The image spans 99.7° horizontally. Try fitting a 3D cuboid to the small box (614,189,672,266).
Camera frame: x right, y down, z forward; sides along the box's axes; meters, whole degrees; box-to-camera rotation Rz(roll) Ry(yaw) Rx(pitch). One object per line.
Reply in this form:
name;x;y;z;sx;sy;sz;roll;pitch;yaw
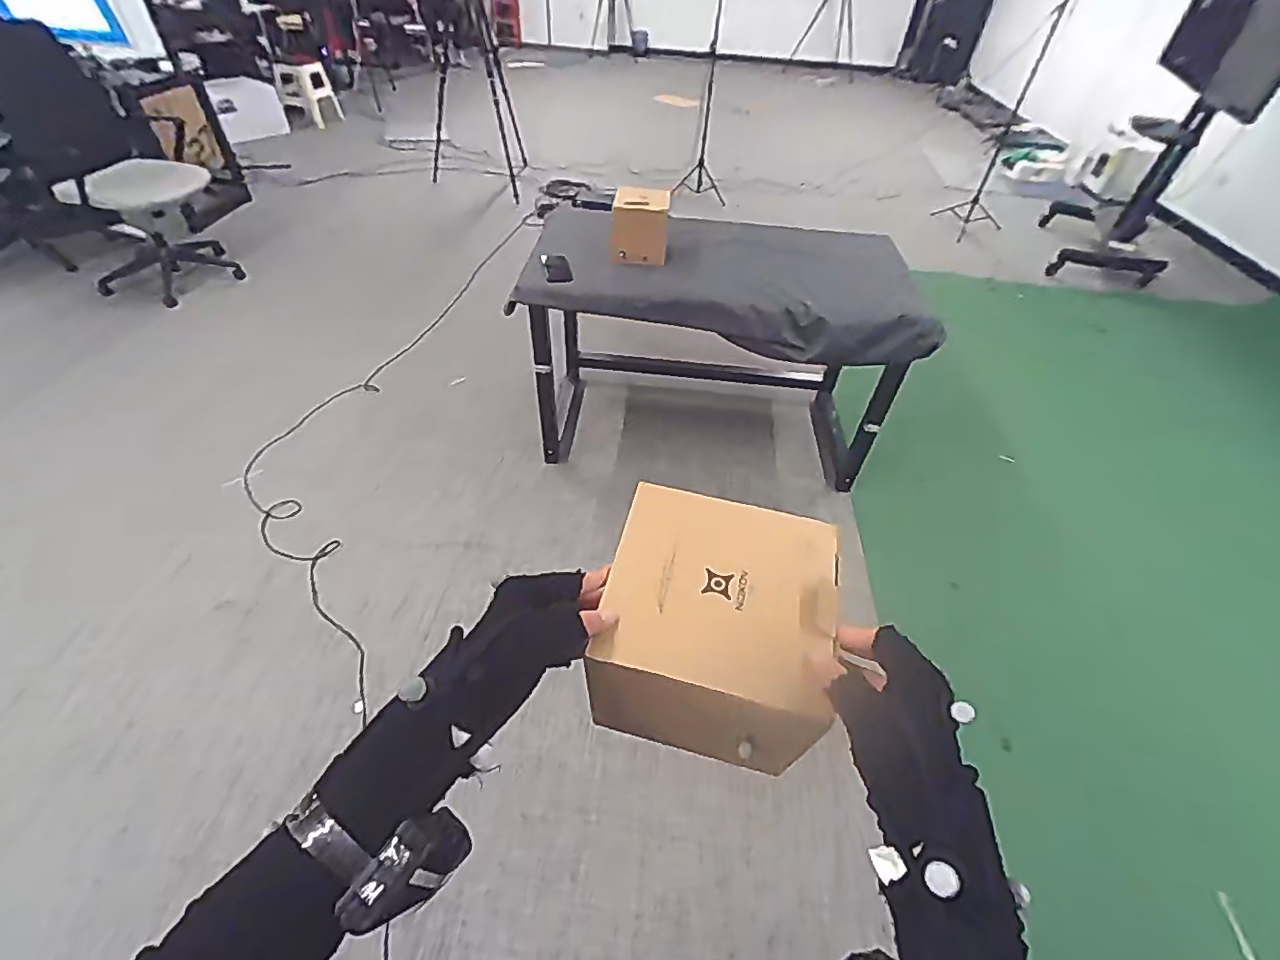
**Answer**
small box;0.008;-0.786;1.687;0.168;0.176;0.179;6;45;0
